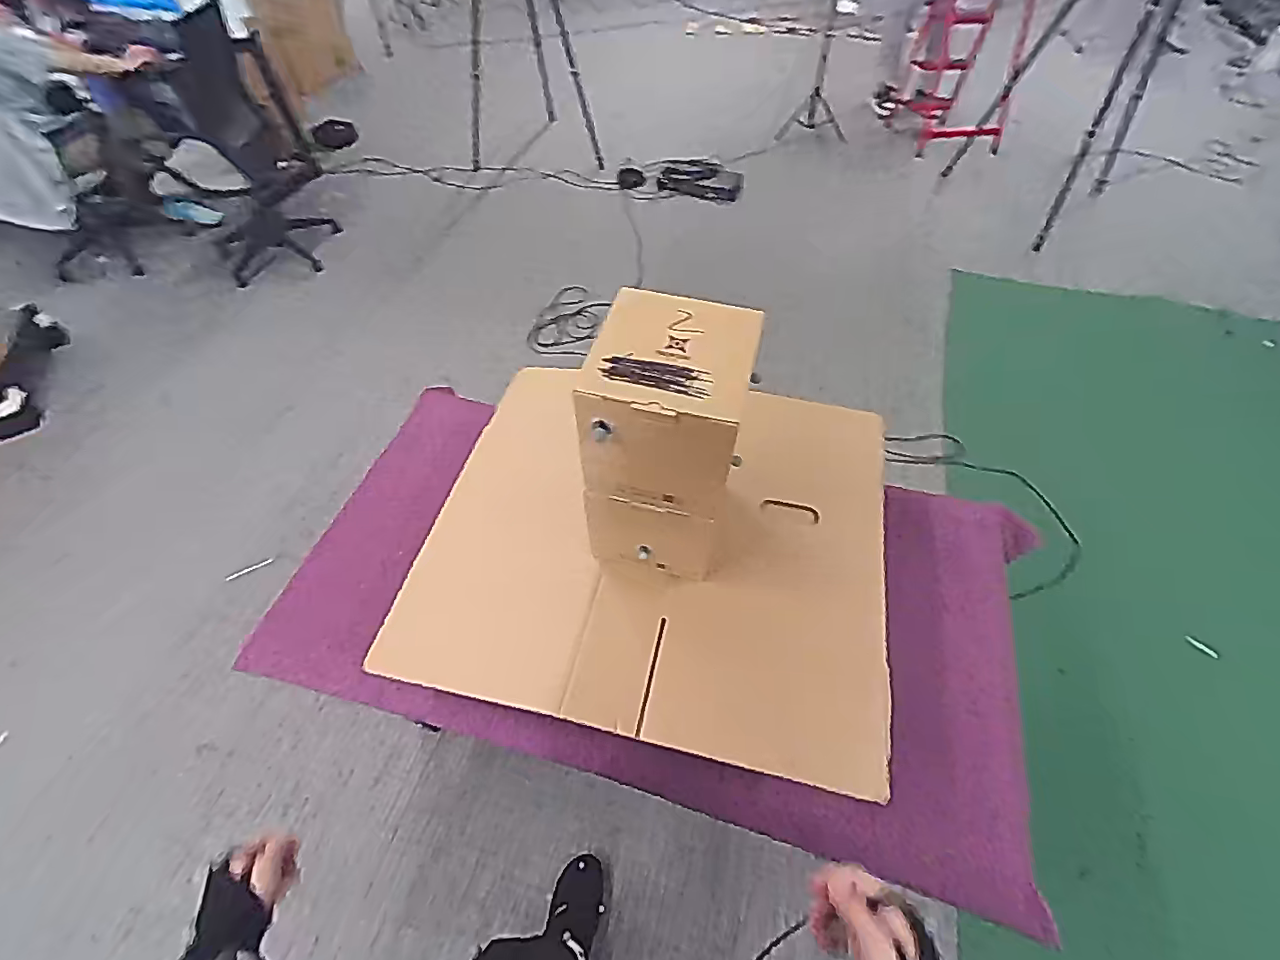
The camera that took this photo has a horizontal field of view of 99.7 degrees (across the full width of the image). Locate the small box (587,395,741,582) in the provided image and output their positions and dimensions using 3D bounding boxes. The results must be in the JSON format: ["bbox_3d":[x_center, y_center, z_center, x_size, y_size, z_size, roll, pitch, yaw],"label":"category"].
[{"bbox_3d":[0.034,0.014,0.751,0.168,0.176,0.179,13,56,9],"label":"small box"}]
